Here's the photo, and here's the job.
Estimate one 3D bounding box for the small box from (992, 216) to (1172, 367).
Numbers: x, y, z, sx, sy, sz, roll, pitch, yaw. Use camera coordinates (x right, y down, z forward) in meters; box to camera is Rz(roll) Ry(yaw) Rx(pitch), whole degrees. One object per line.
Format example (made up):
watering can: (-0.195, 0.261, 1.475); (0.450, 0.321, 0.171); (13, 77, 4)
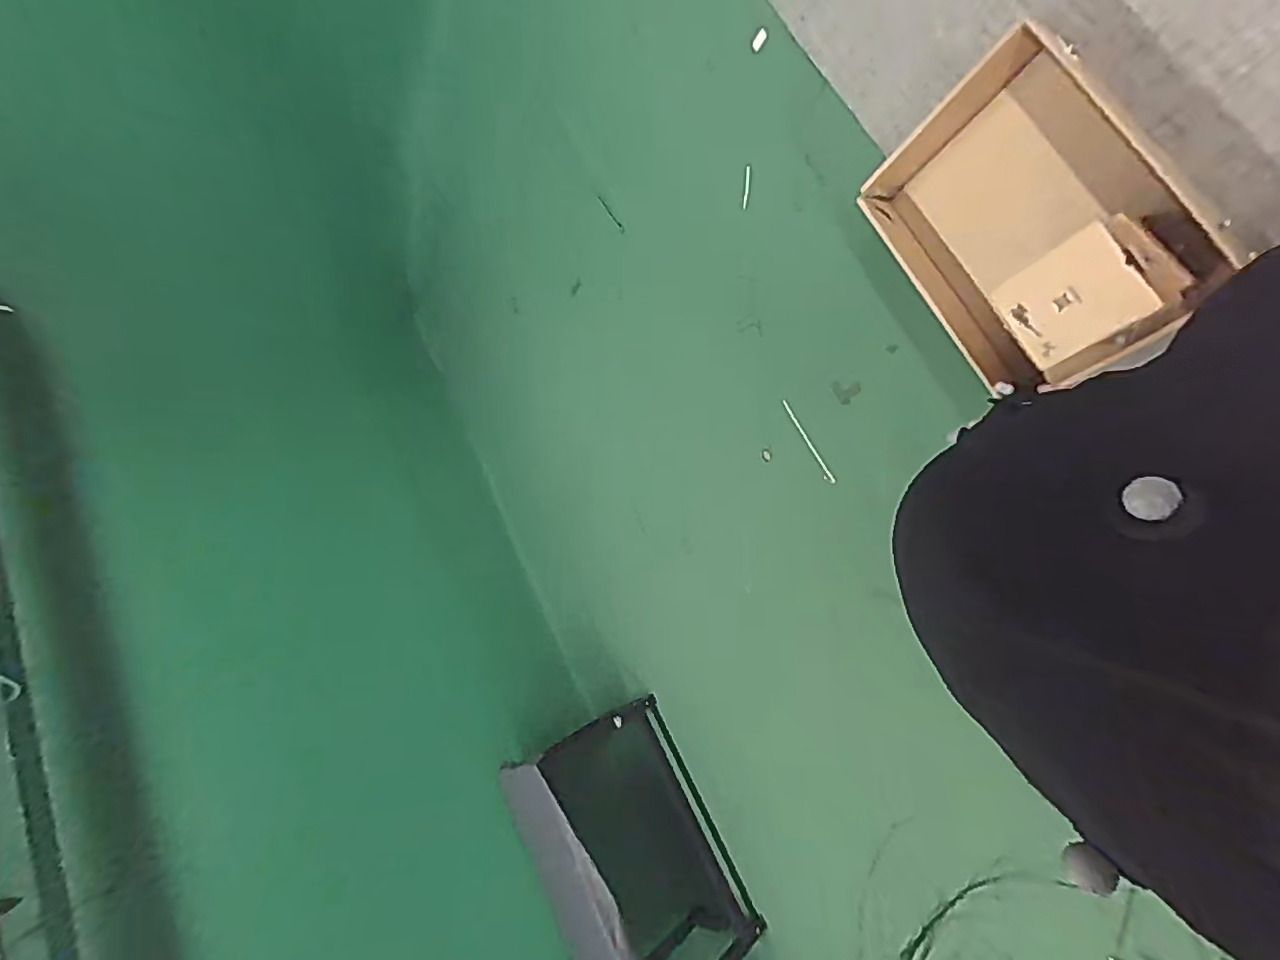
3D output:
small box: (0.752, -0.316, 0.918); (0.179, 0.176, 0.168); (-39, 73, 50)

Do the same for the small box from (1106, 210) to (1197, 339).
small box: (0.877, -0.370, 1.010); (0.168, 0.176, 0.179); (61, 140, 15)
